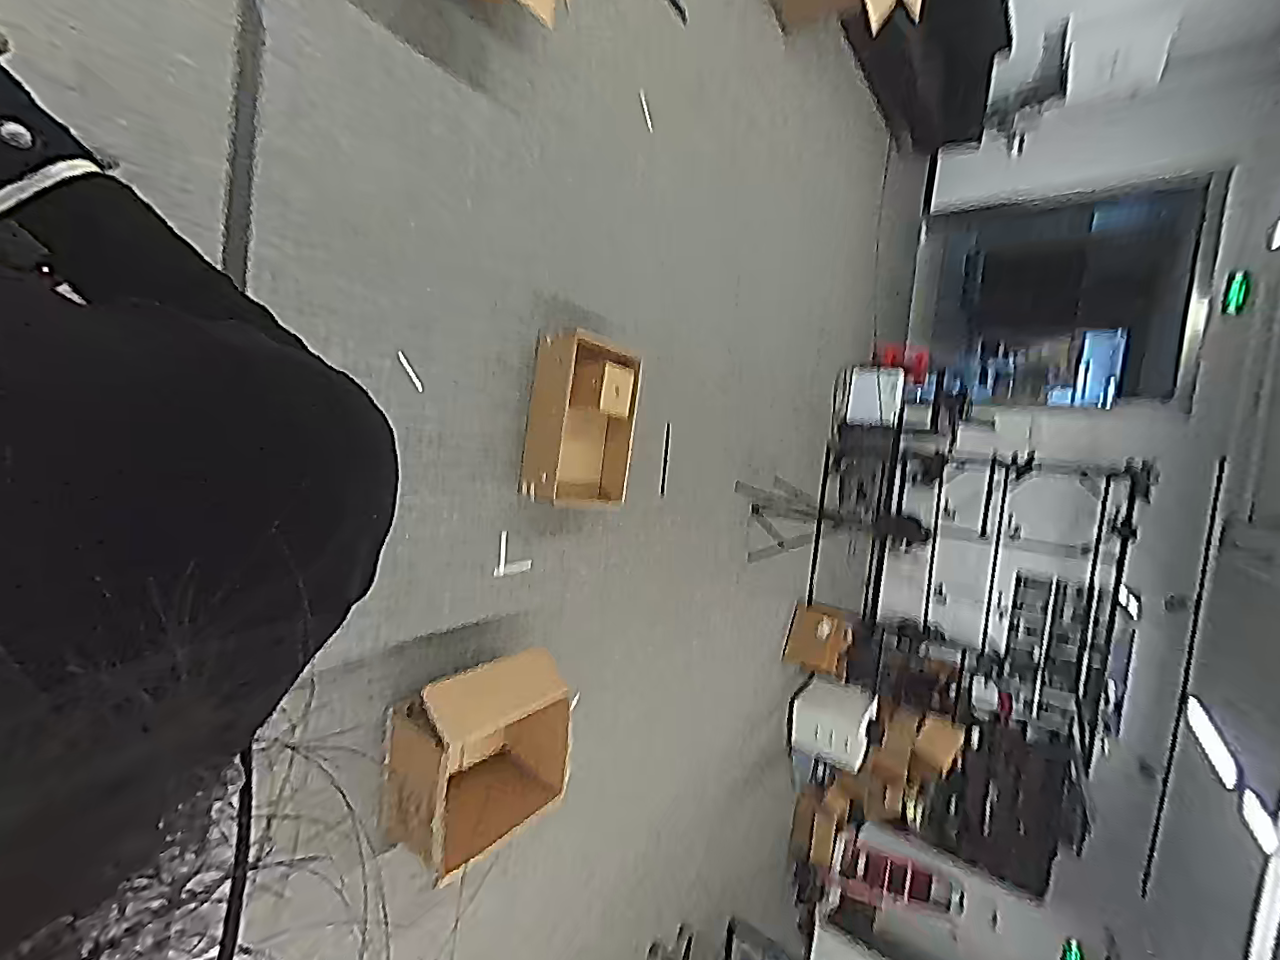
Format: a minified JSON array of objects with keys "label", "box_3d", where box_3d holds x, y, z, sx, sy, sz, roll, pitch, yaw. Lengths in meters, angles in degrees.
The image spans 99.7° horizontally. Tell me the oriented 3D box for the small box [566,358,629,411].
[{"label":"small box","box_3d":[-0.168,-0.370,2.093,0.168,0.176,0.179,6,94,-51]}]
